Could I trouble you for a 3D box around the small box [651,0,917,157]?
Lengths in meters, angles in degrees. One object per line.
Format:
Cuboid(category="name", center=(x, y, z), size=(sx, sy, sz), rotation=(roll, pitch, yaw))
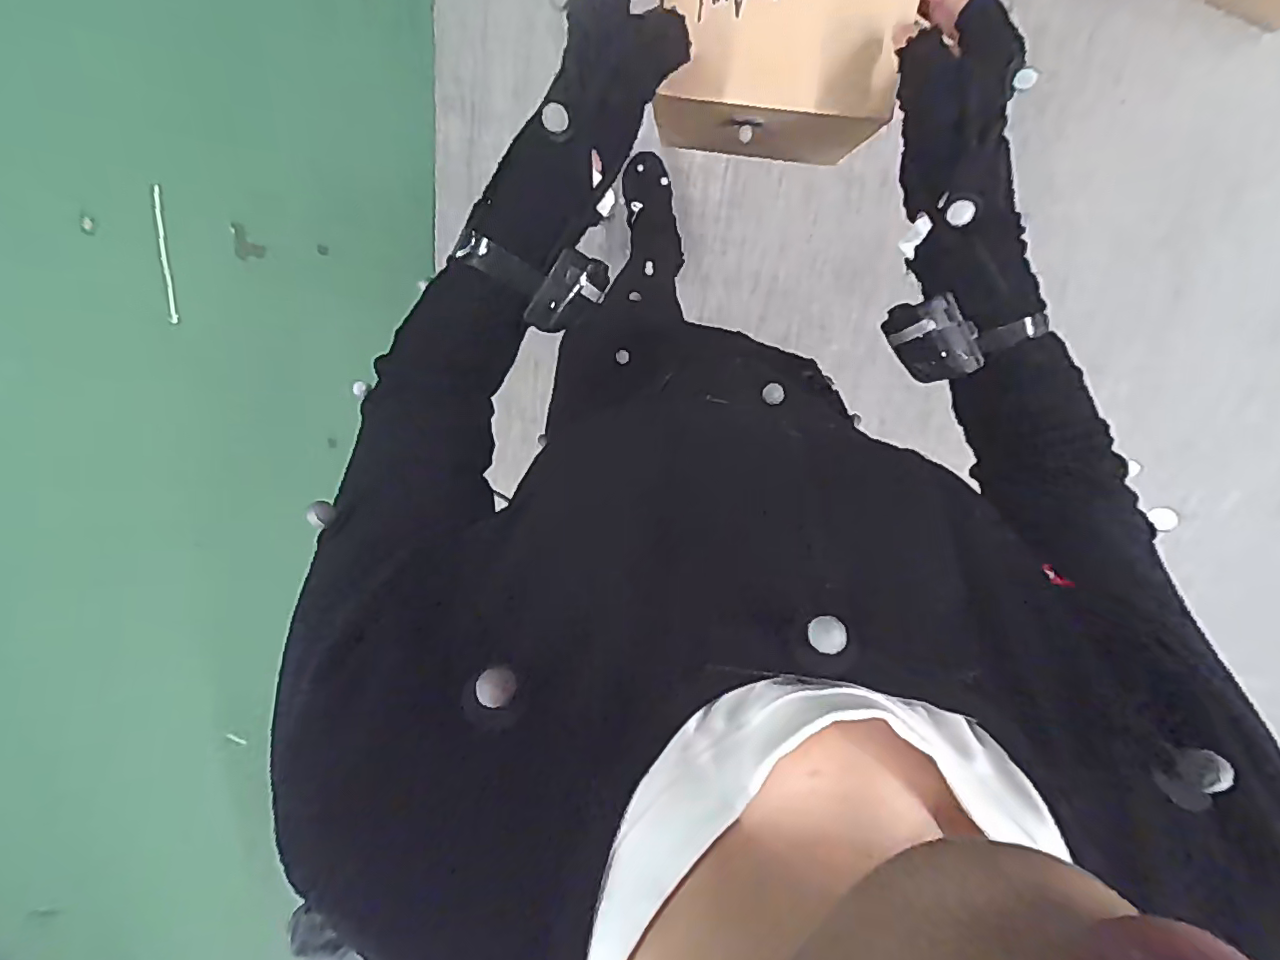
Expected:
Cuboid(category="small box", center=(0.110, -0.377, 0.437), size=(0.179, 0.176, 0.168), rotation=(8, 111, 1))
